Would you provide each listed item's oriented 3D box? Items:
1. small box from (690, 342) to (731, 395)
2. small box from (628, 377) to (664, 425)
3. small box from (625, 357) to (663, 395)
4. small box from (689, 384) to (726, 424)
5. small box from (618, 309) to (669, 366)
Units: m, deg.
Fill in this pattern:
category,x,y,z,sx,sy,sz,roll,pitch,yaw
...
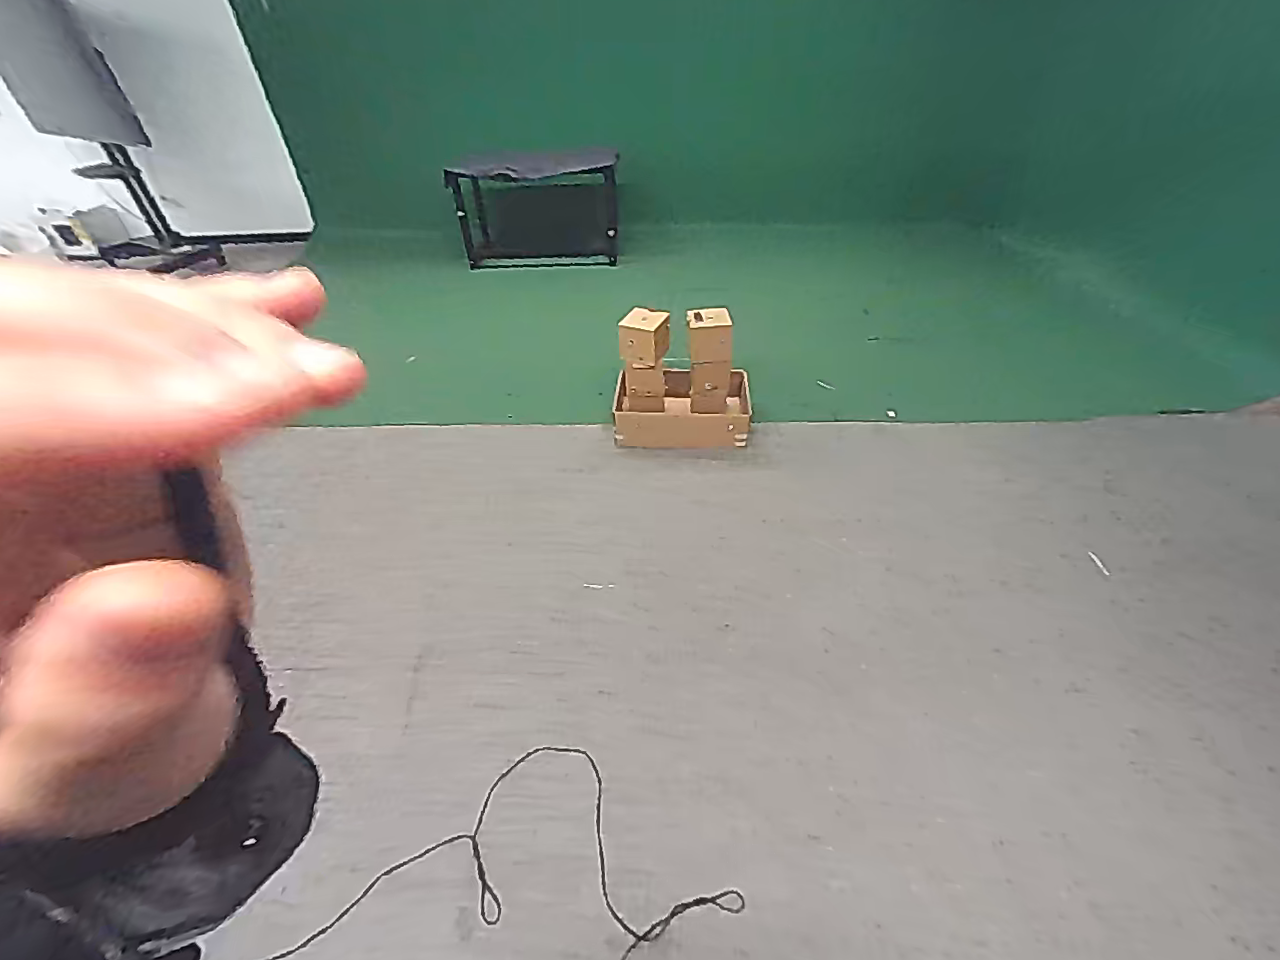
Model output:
category,x,y,z,sx,sy,sz,roll,pitch,yaw
small box,0.315,-0.505,2.450,0.168,0.176,0.179,-4,43,1
small box,0.030,-0.378,2.559,0.168,0.176,0.179,0,41,2
small box,0.021,-0.495,2.443,0.168,0.176,0.179,2,40,2
small box,0.322,-0.384,2.559,0.168,0.176,0.179,3,42,7
small box,0.020,-0.613,2.331,0.168,0.176,0.179,16,43,19
